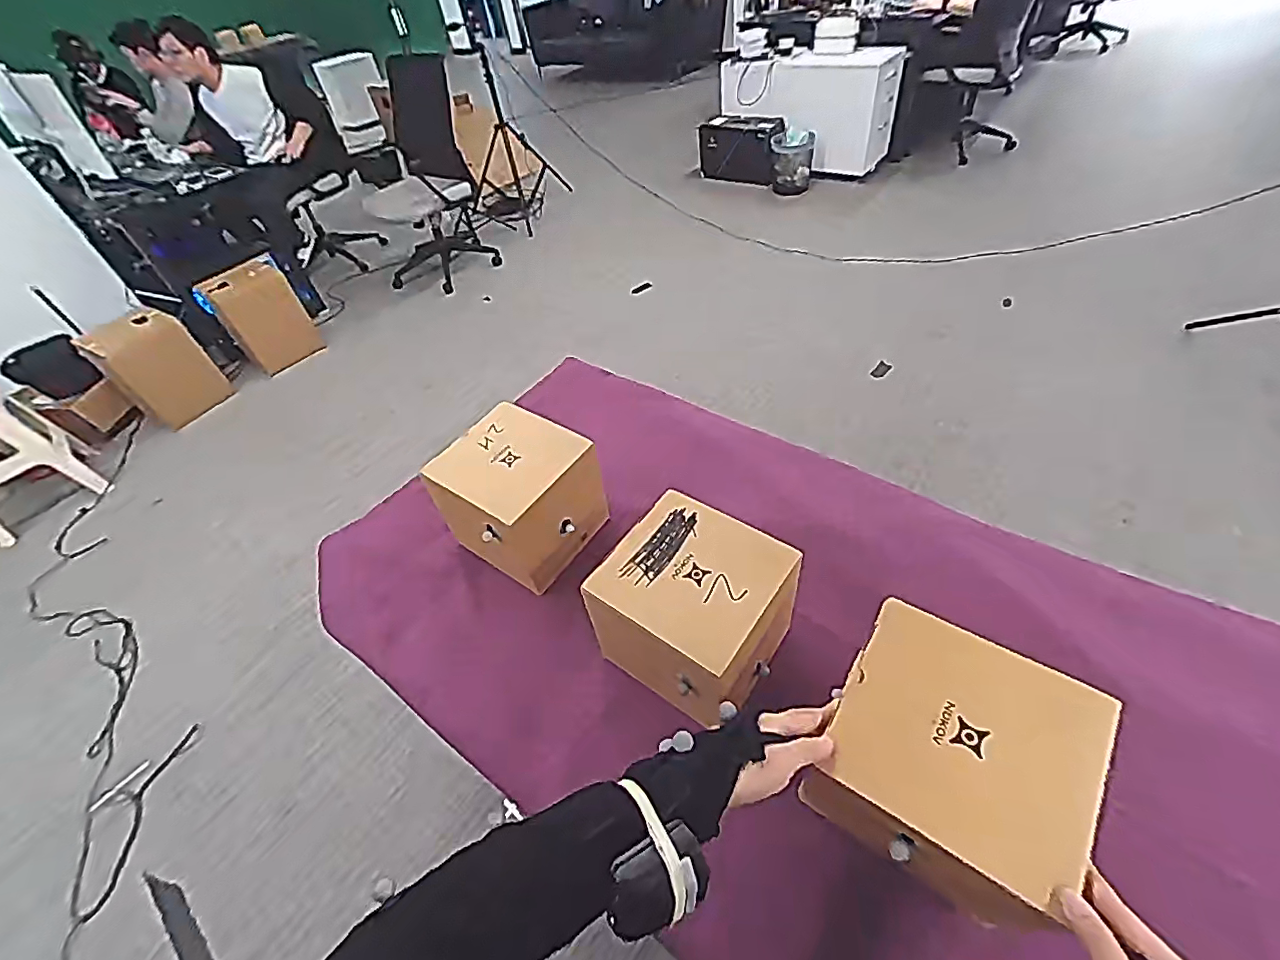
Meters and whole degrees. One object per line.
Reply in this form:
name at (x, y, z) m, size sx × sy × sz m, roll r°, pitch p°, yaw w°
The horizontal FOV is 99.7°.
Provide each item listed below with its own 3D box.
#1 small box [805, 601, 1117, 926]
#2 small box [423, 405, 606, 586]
small box at (0.263, 0.245, 0.479) m, size 0.179 × 0.176 × 0.168 m, roll 23°, pitch 60°, yaw 29°
small box at (-0.167, 0.027, 0.782) m, size 0.179 × 0.176 × 0.168 m, roll 25°, pitch 55°, yaw 26°
